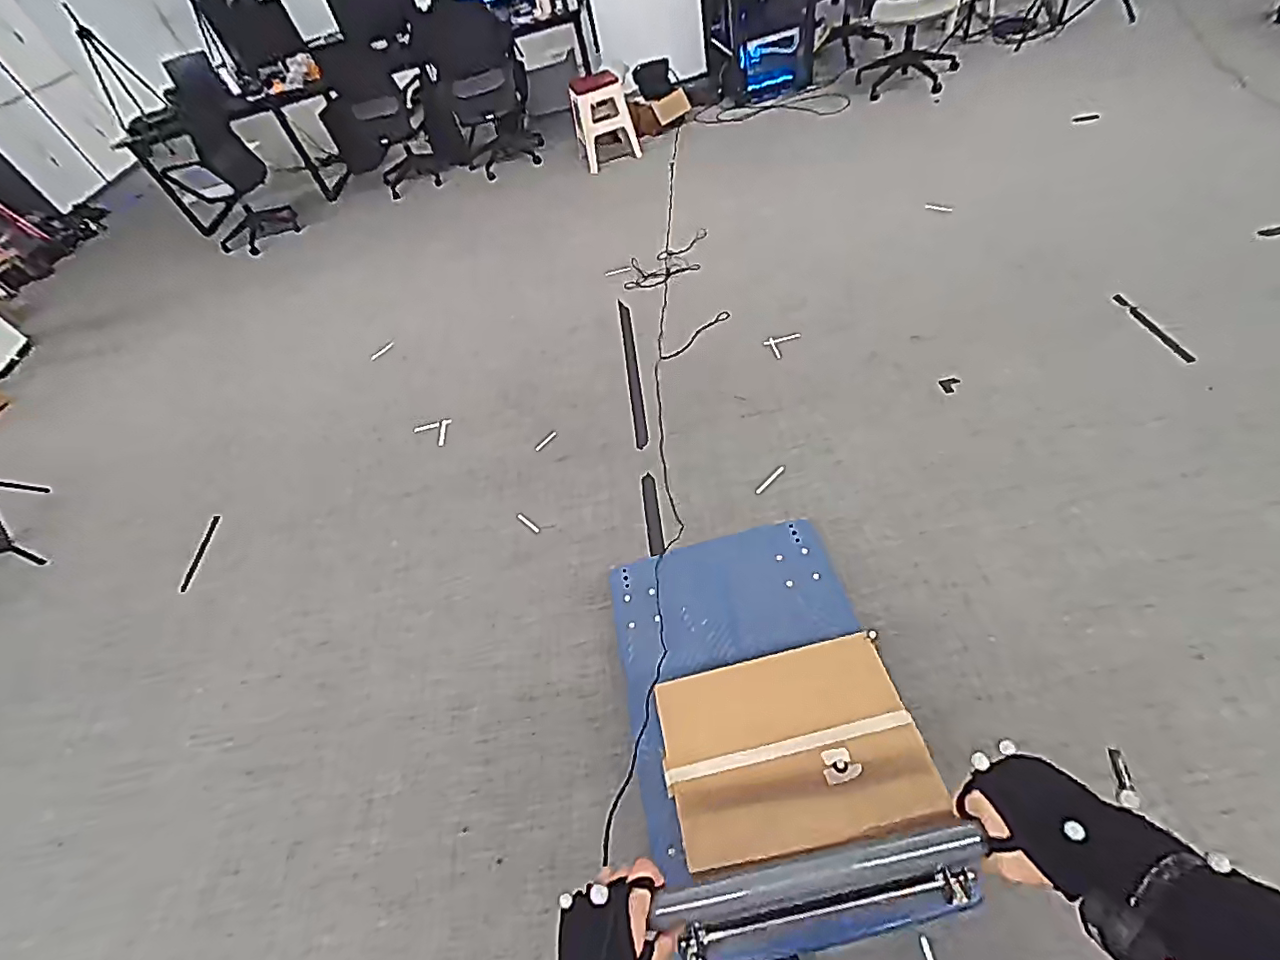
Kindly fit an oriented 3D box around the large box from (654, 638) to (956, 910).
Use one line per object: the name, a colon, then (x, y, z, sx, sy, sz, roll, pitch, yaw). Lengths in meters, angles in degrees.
large box: (0.269, 0.543, 0.991, 0.408, 0.320, 0.320, -15, 48, 2)
